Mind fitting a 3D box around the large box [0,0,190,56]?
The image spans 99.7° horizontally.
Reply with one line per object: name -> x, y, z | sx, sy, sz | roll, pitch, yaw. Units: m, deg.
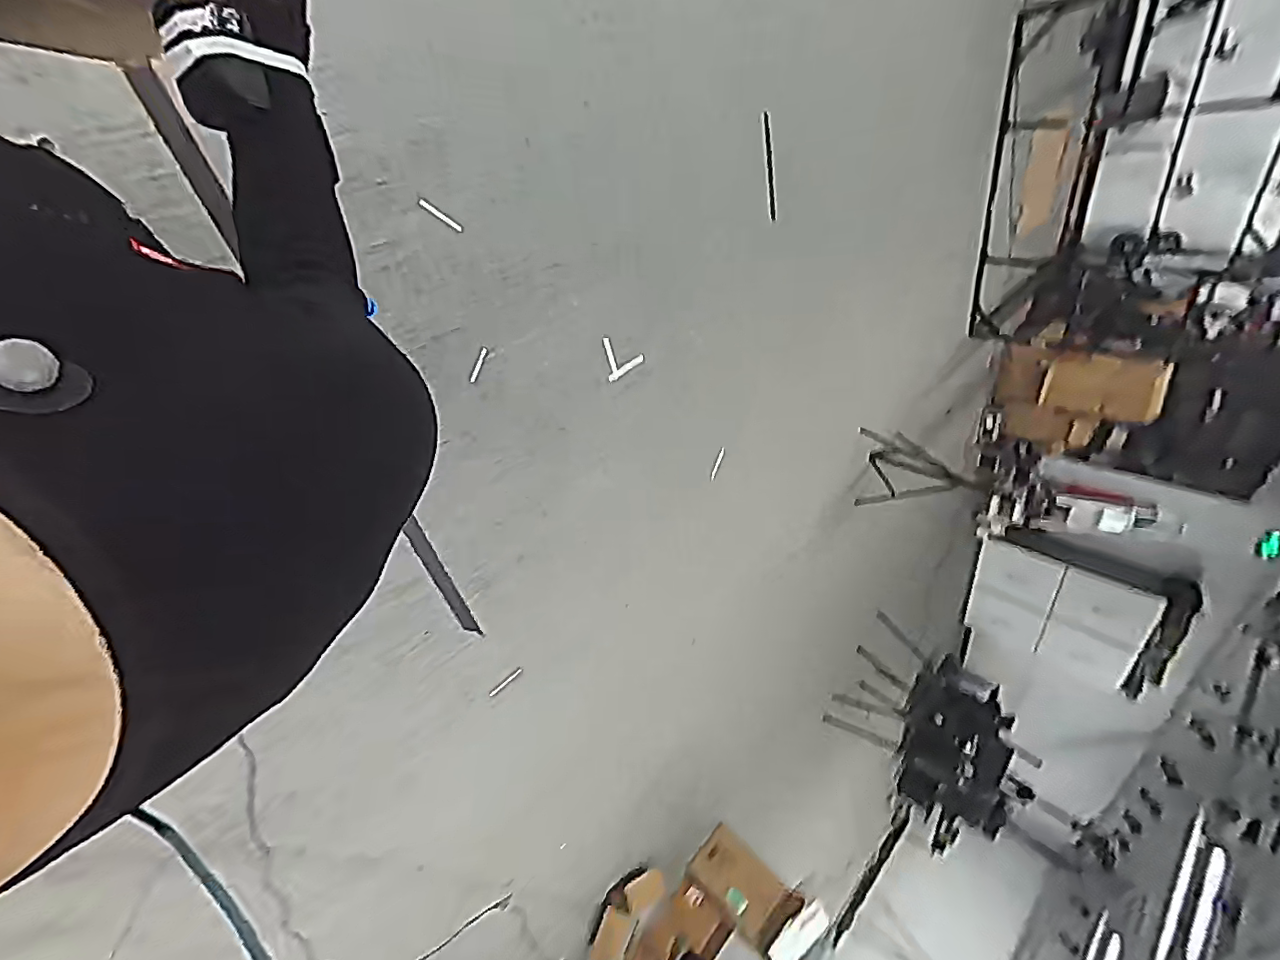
large box -> -0.538, -0.471, 0.272 | 0.408, 0.320, 0.320 | -21, 125, -43
